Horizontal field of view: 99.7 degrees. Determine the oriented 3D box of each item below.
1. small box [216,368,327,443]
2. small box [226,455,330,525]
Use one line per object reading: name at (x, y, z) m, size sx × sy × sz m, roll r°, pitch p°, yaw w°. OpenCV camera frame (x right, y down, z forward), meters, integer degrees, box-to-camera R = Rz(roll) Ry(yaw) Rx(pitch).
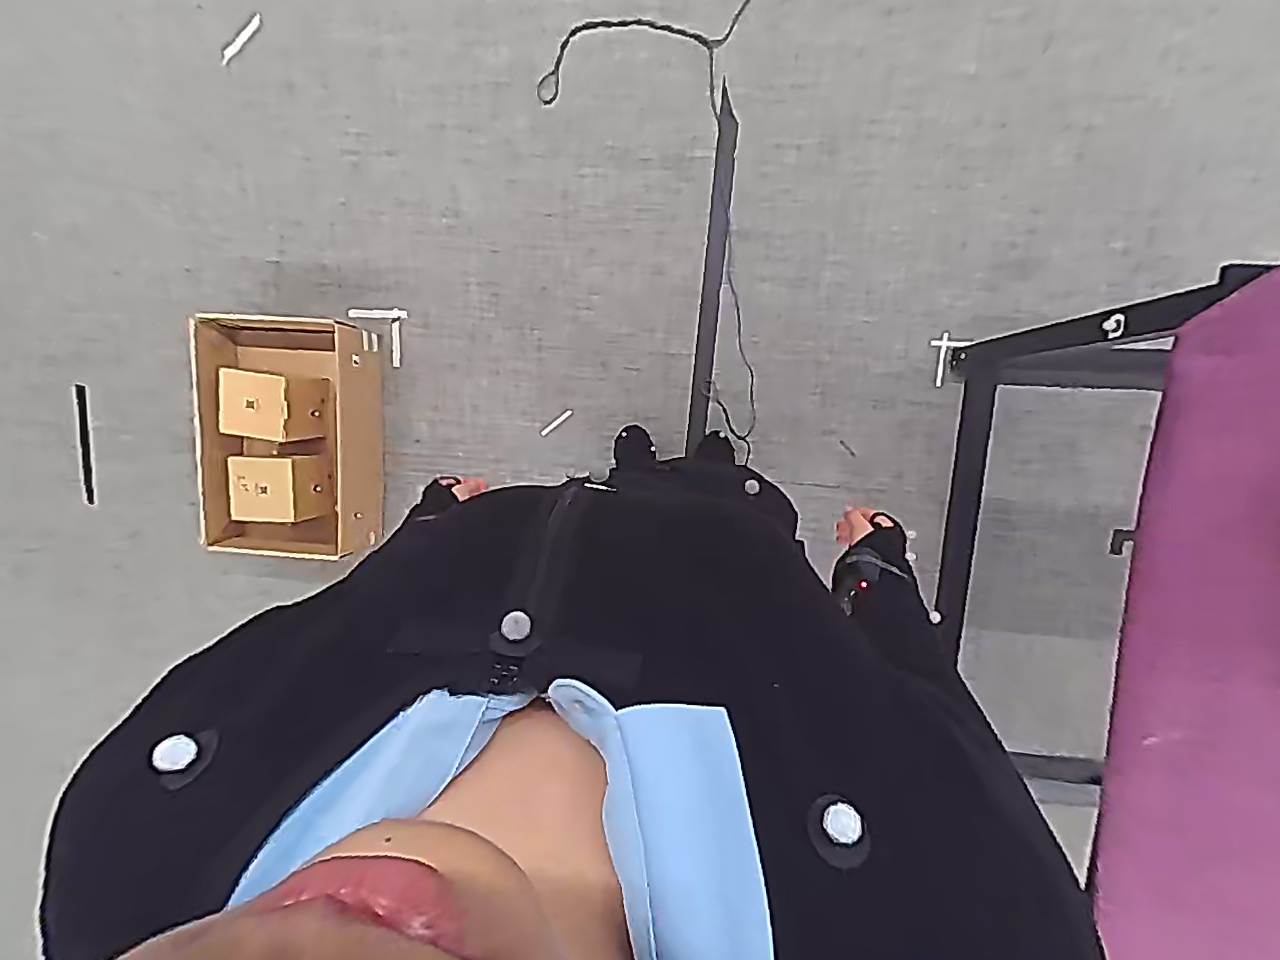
small box at (-0.967, -0.196, 1.426) m, size 0.179 × 0.176 × 0.168 m, roll 9°, pitch 99°, yaw 3°
small box at (-0.960, 0.020, 1.450) m, size 0.179 × 0.176 × 0.168 m, roll 2°, pitch 96°, yaw 5°
